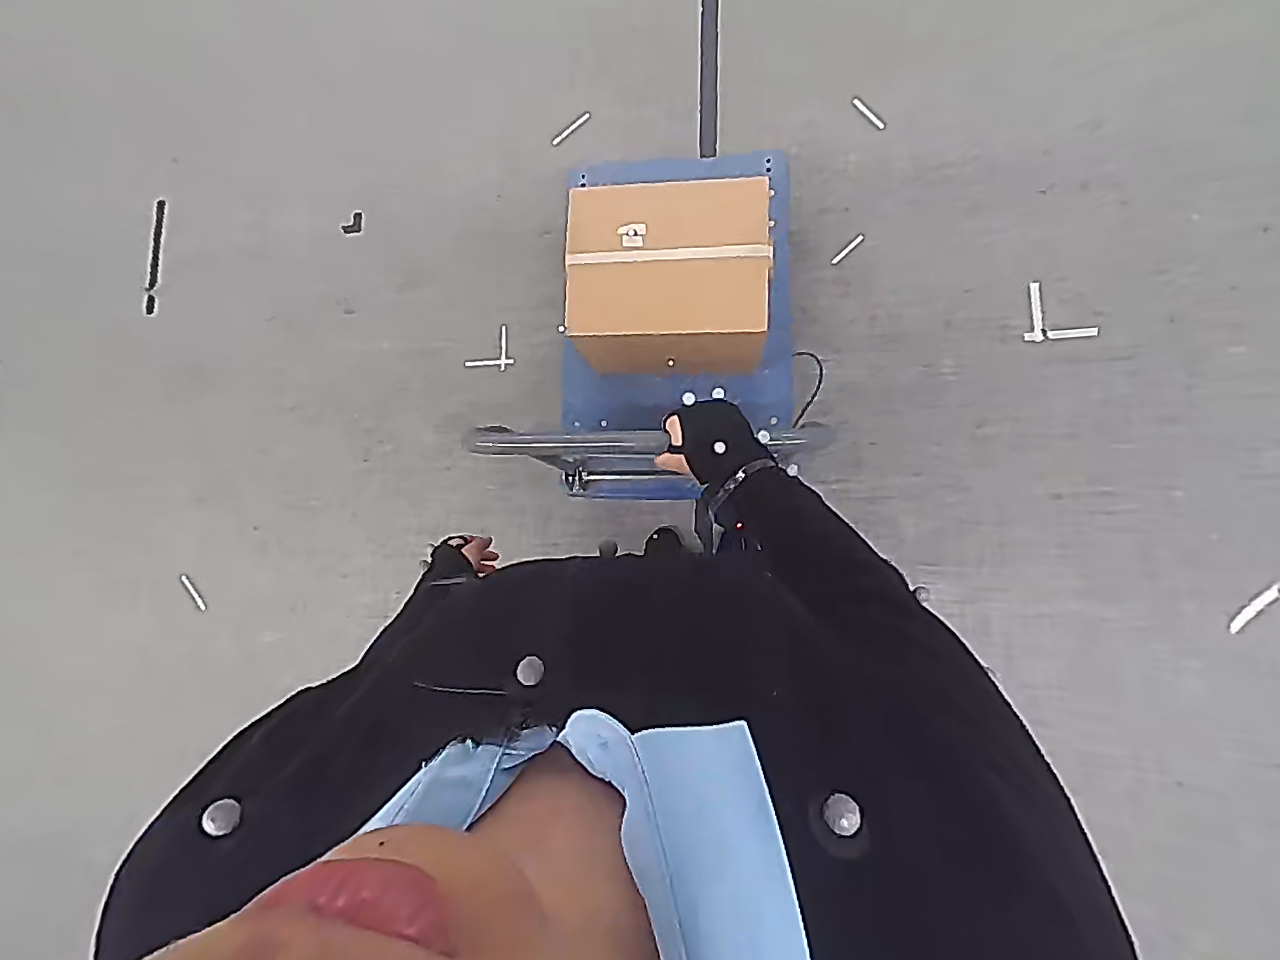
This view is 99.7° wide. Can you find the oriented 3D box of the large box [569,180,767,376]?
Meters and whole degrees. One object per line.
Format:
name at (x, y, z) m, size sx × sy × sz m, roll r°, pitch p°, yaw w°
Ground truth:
large box at (0.075, -0.432, 1.238) m, size 0.408 × 0.320 × 0.320 m, roll 0°, pitch 85°, yaw 9°
